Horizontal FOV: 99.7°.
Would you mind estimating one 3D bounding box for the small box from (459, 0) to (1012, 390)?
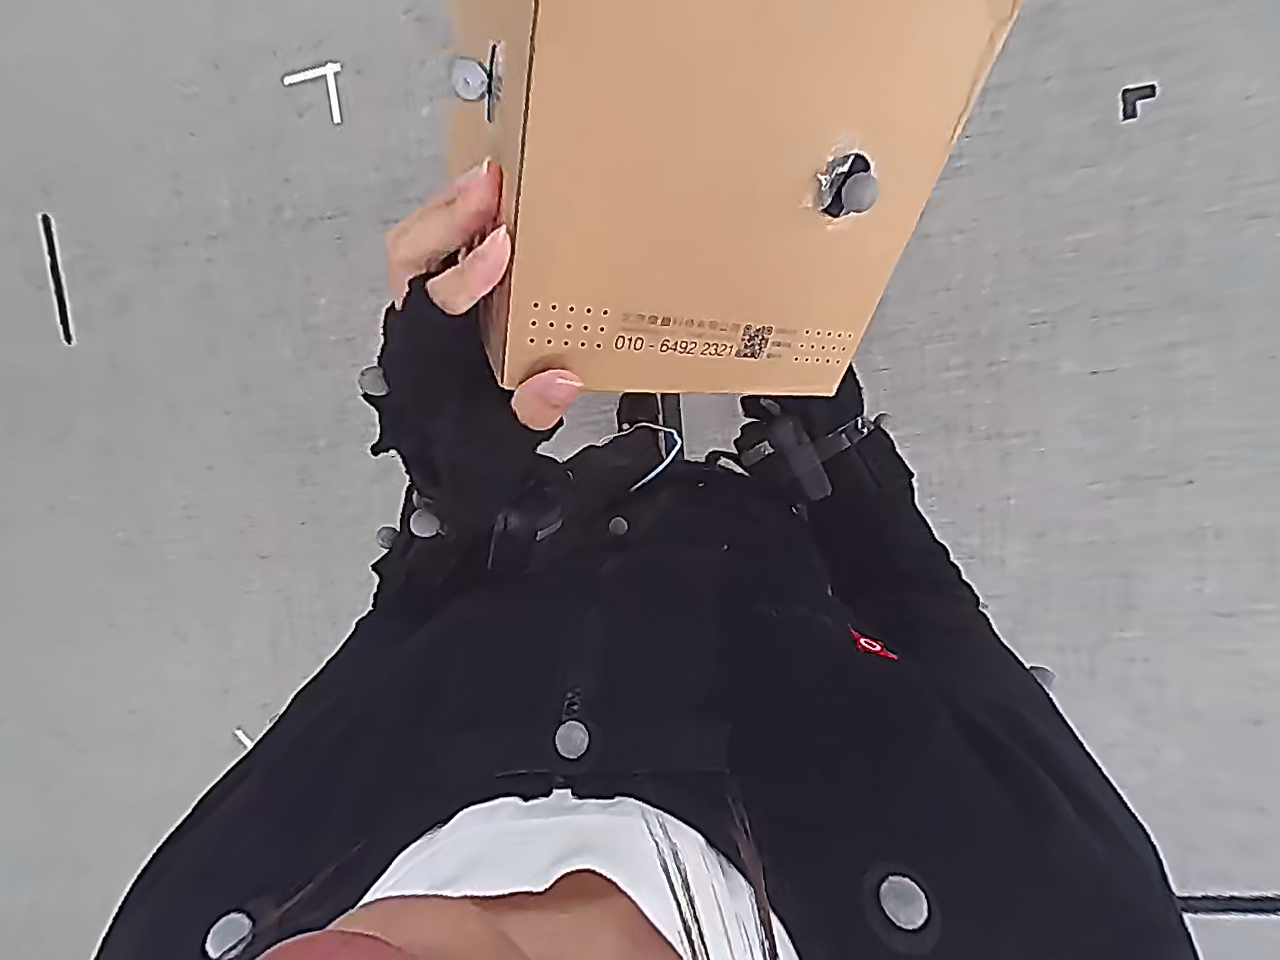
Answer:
[{"bbox_3d":[0.011,-0.154,0.254,0.168,0.179,0.176,-2,128,-26],"label":"small box"}]
